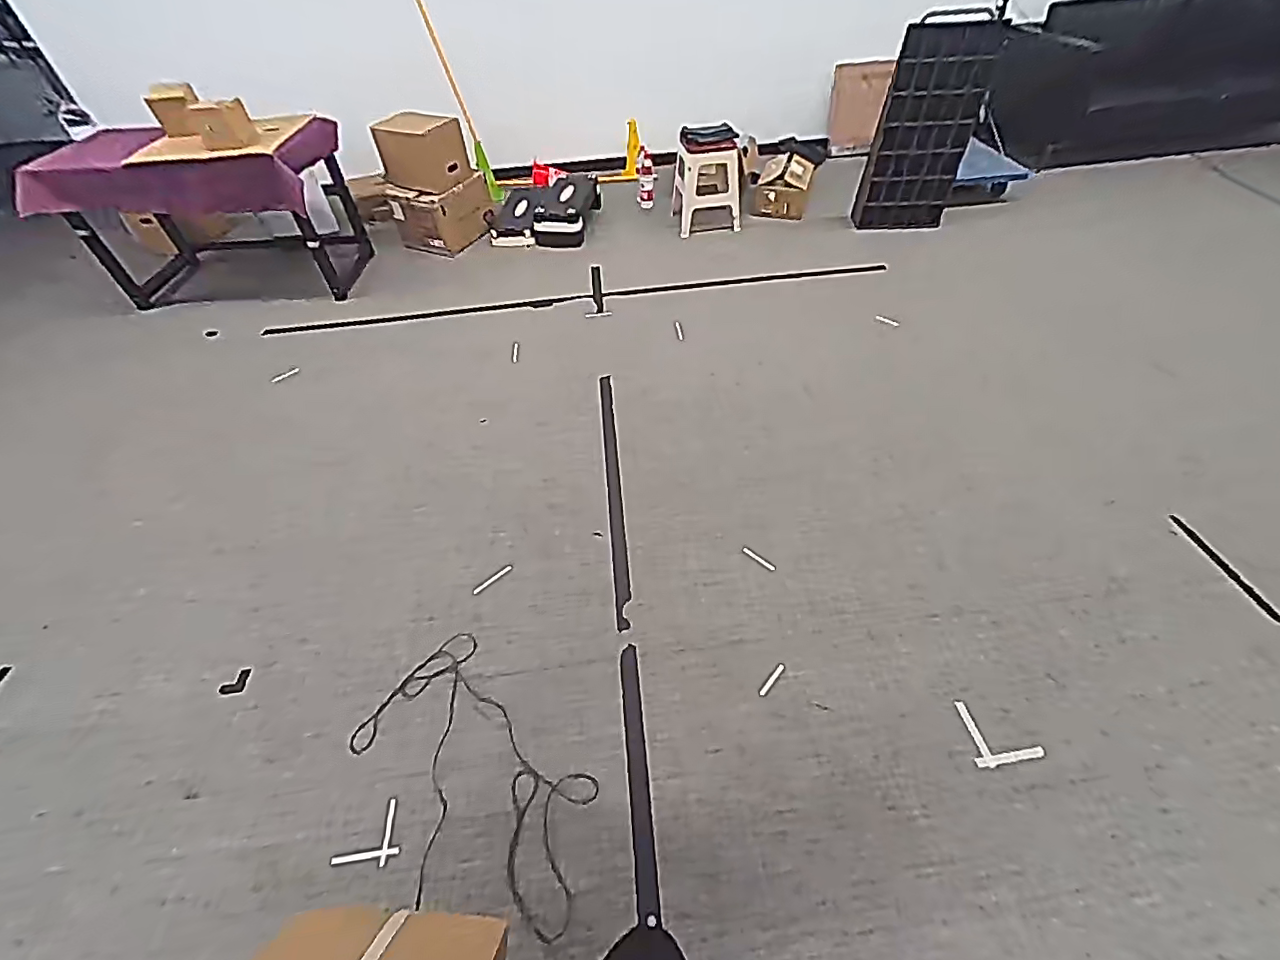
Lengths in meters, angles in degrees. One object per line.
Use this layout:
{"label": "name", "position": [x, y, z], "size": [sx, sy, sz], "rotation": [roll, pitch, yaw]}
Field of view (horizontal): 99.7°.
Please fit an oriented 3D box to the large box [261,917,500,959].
{"label": "large box", "position": [-0.363, 0.782, 0.587], "size": [0.320, 0.408, 0.320], "rotation": [1, 84, 1]}
